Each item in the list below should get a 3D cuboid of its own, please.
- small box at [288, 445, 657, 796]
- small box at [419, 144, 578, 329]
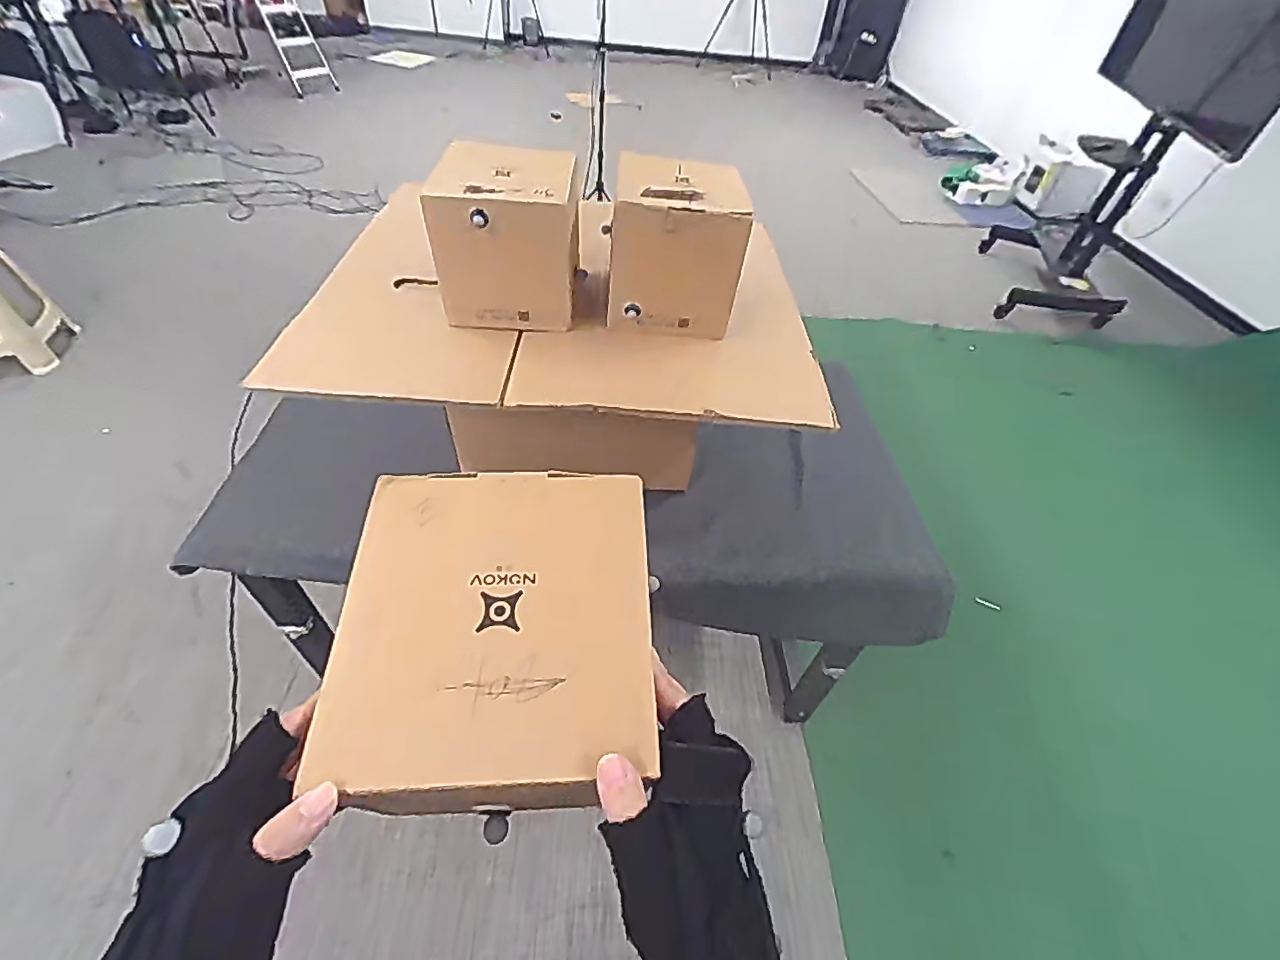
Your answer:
[{"bbox_3d":[-0.082,0.096,0.353,0.168,0.176,0.179,0,56,-5],"label":"small box"},{"bbox_3d":[-0.172,-0.323,0.720,0.168,0.176,0.179,2,47,-2],"label":"small box"}]
